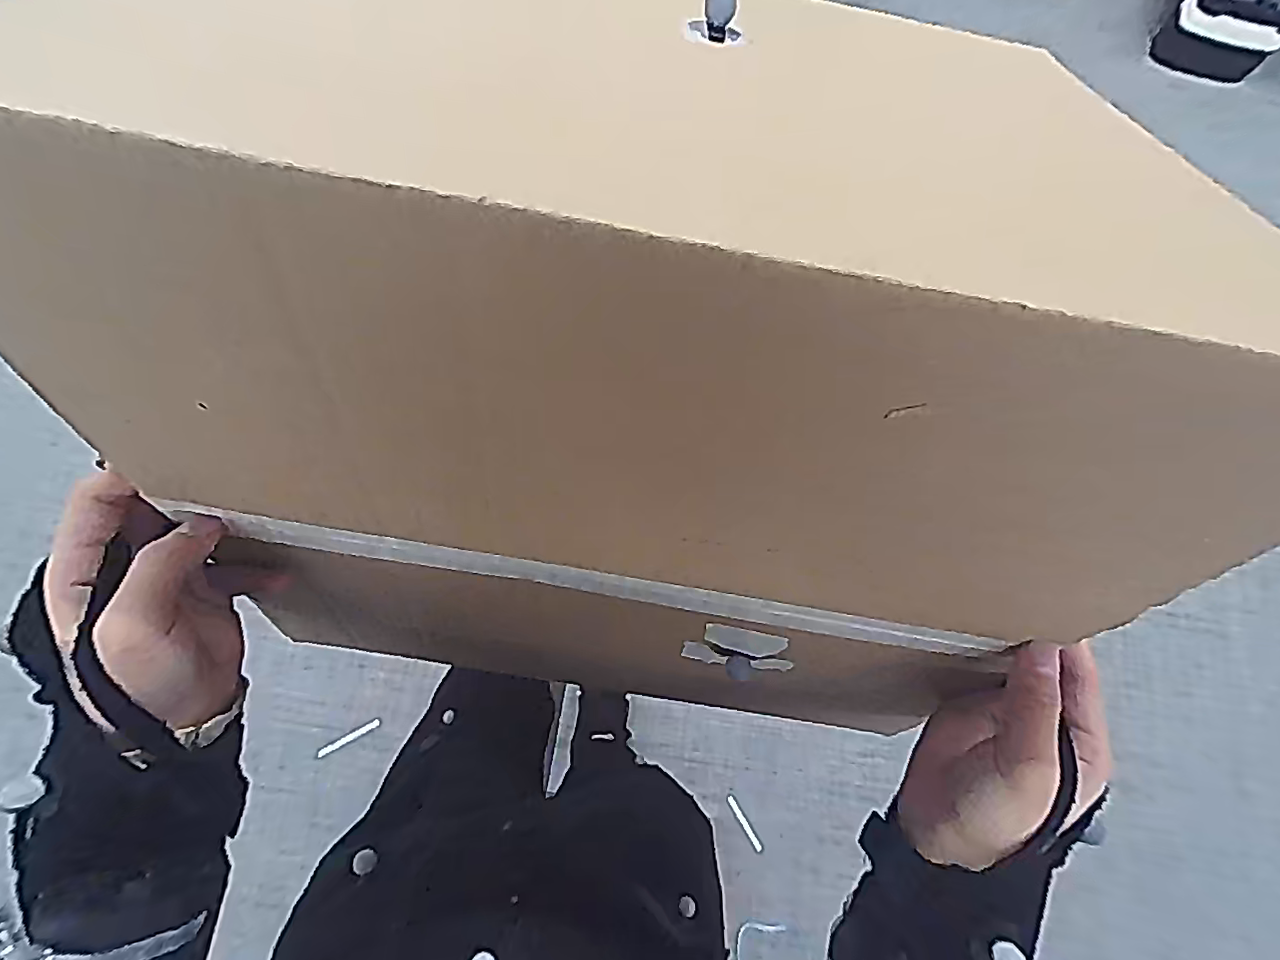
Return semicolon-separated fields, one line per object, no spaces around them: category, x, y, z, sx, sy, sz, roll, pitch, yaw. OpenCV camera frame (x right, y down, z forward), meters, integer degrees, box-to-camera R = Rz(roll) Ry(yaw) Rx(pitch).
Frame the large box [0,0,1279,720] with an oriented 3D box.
large box;0.006;-0.074;0.345;0.408;0.320;0.320;9;52;-2
